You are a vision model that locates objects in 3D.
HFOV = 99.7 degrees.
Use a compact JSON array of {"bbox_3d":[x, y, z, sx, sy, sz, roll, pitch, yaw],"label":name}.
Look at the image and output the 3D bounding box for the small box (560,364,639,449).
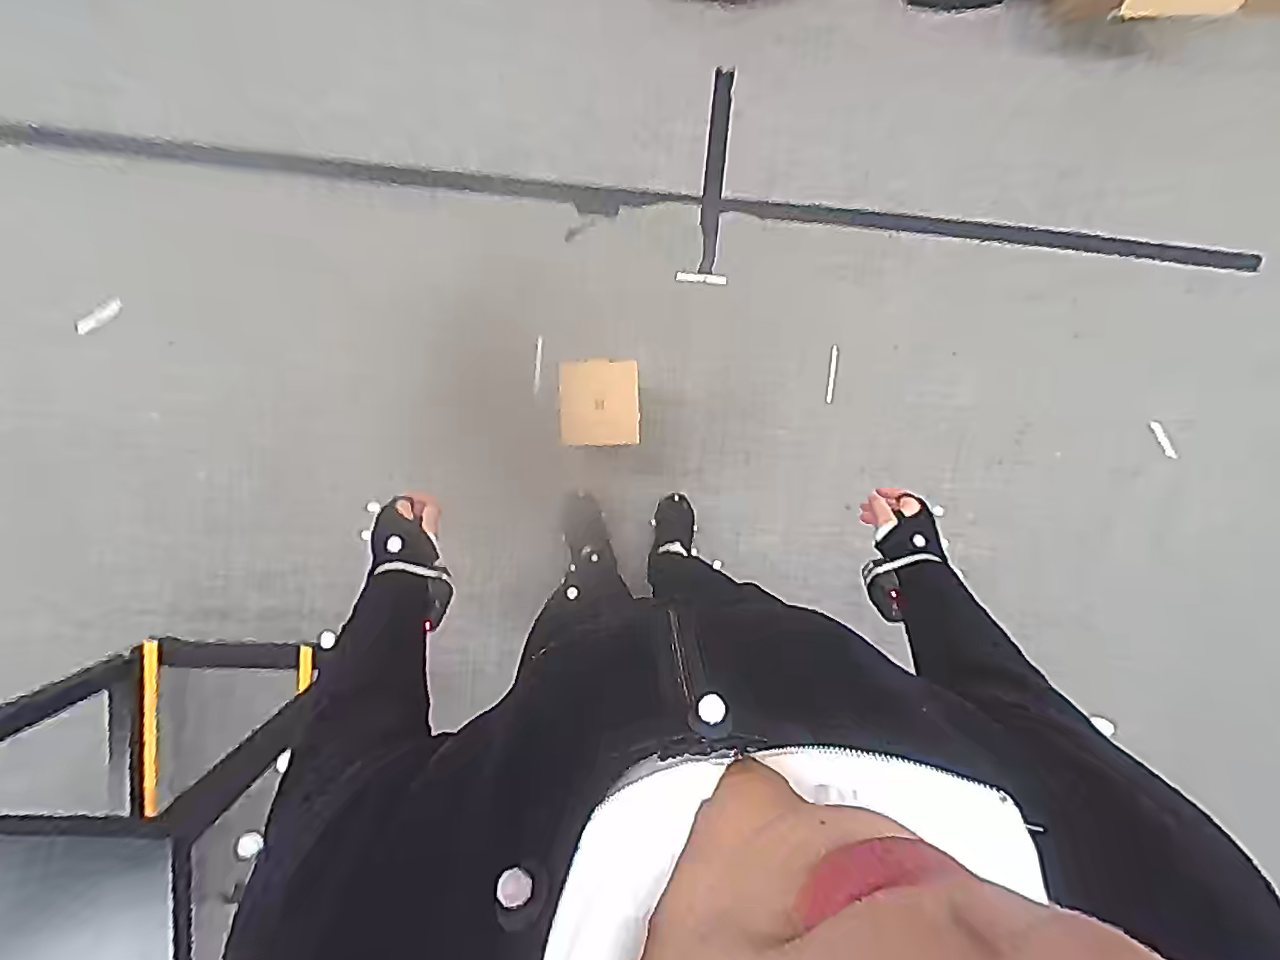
[{"bbox_3d":[-0.090,-0.159,1.211,0.168,0.176,0.179,-2,96,-3],"label":"small box"}]
